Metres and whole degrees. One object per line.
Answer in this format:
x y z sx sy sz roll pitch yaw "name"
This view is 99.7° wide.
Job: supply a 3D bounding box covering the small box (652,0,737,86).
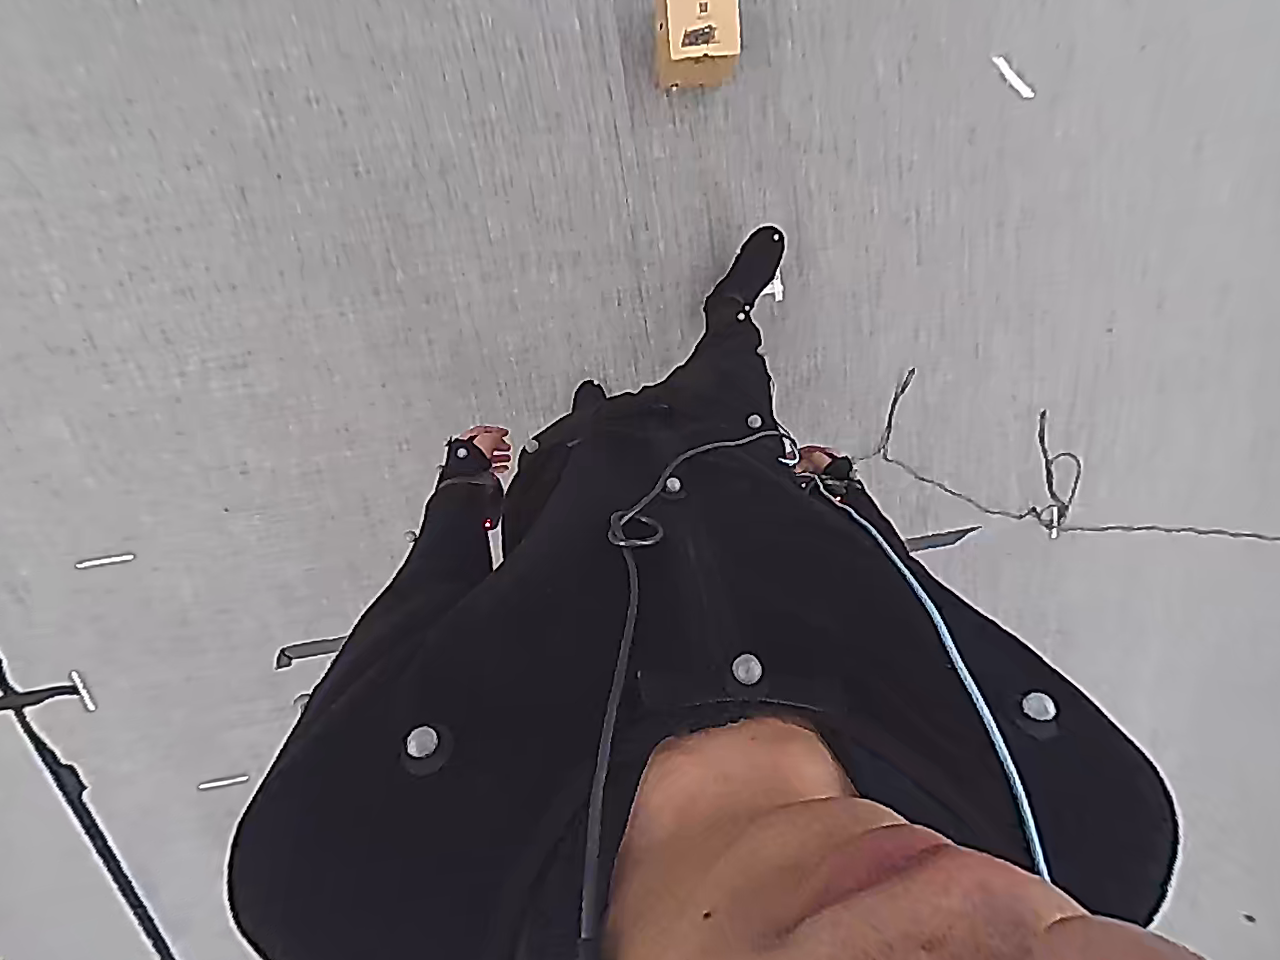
0.125 -1.058 1.273 0.168 0.176 0.179 -7 105 -5 "small box"
